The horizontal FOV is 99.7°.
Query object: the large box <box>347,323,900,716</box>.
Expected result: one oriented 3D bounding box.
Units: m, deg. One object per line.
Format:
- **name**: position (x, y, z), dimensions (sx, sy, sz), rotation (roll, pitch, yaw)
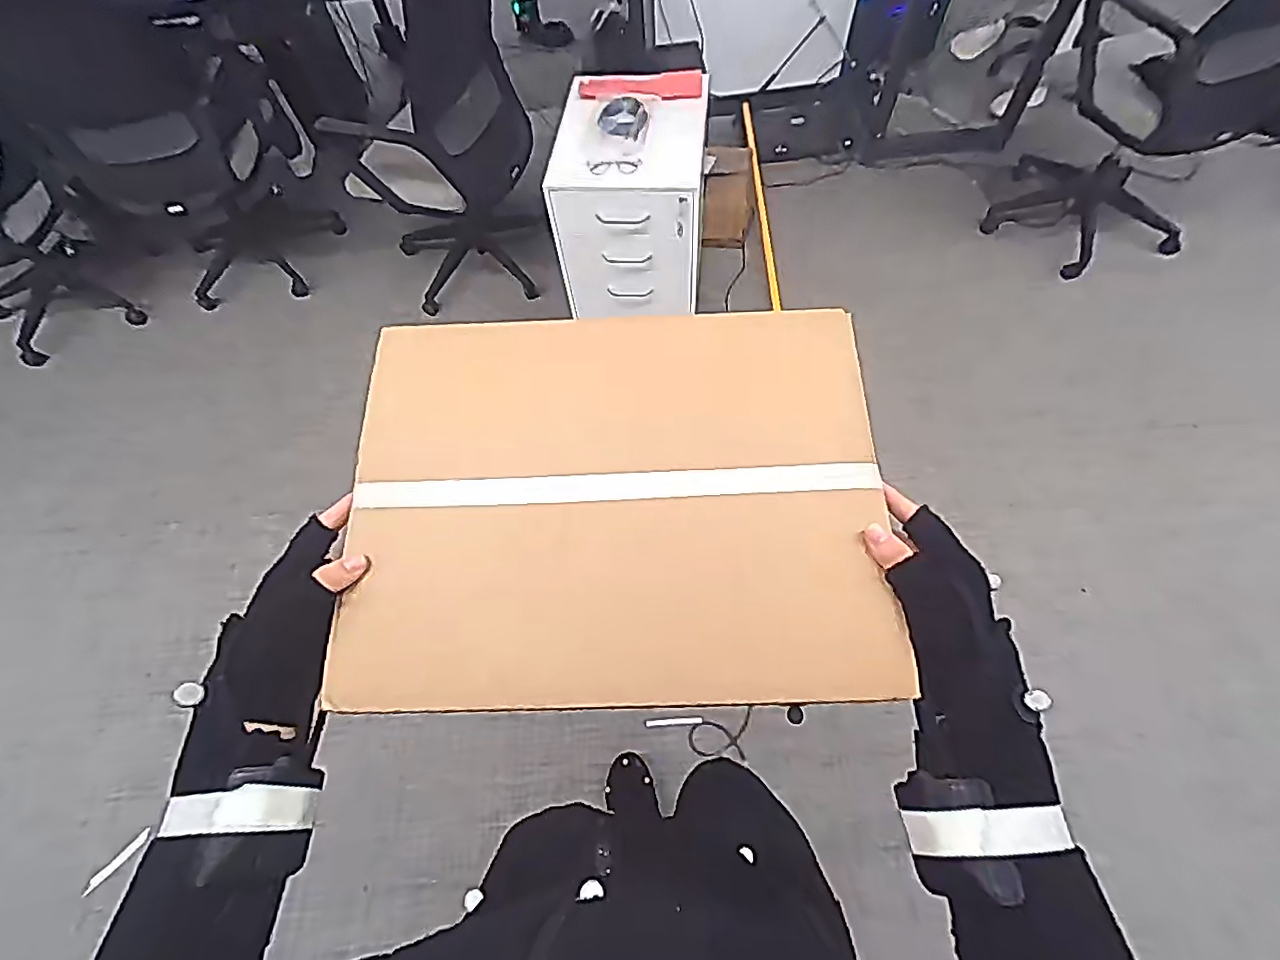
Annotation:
- **large box**: position (-0.012, 0.065, 0.572), dimensions (0.408, 0.320, 0.320), rotation (-2, 69, 2)
